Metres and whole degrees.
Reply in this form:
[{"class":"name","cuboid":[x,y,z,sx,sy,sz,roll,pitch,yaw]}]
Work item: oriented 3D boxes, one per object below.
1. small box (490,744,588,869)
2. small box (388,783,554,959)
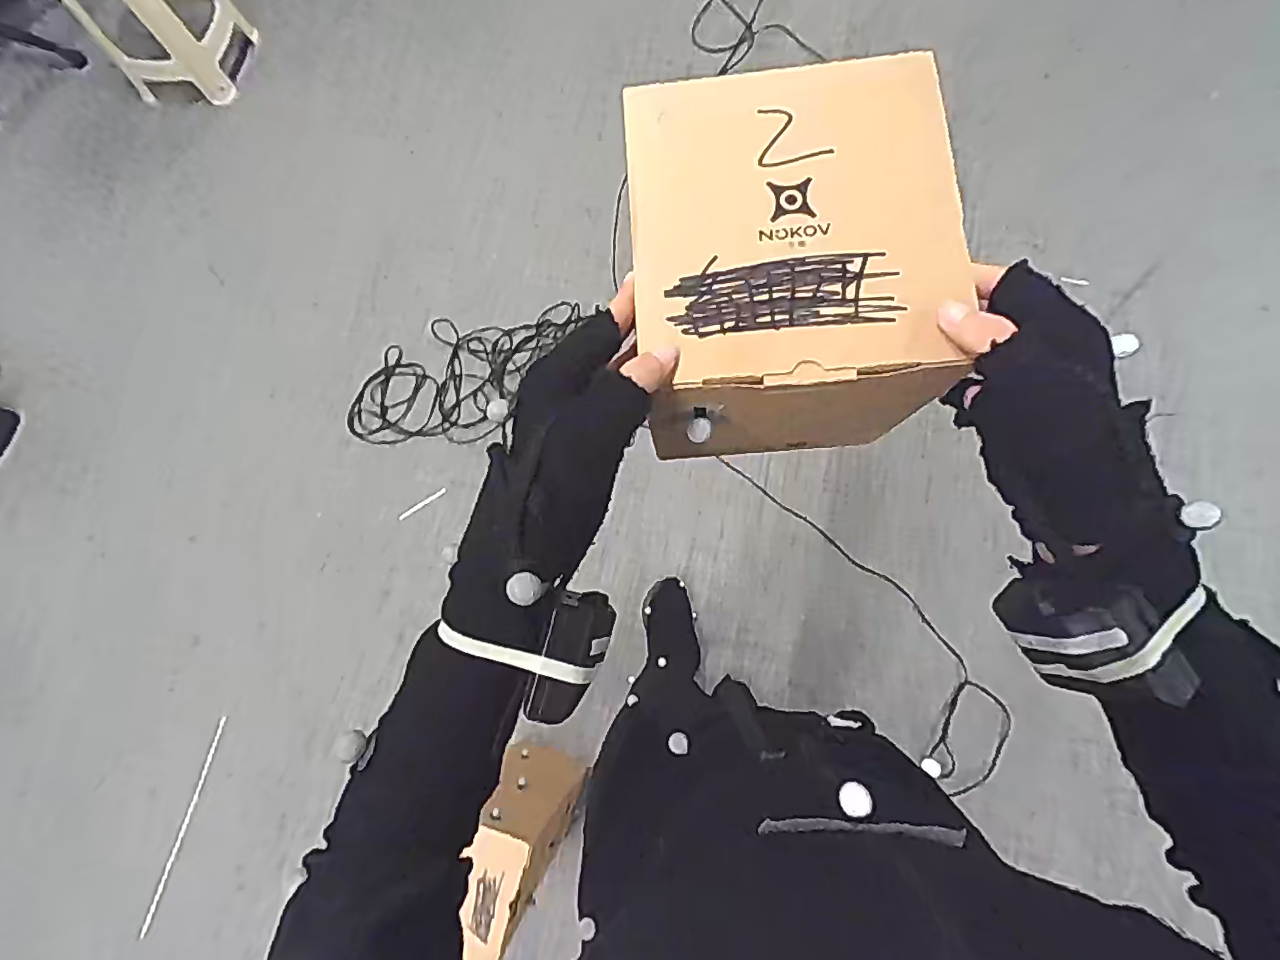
[{"class":"small box","cuboid":[-0.229,0.695,1.179,0.179,0.176,0.168,16,77,8]},{"class":"small box","cuboid":[-0.254,0.612,0.865,0.179,0.176,0.168,15,76,9]}]
